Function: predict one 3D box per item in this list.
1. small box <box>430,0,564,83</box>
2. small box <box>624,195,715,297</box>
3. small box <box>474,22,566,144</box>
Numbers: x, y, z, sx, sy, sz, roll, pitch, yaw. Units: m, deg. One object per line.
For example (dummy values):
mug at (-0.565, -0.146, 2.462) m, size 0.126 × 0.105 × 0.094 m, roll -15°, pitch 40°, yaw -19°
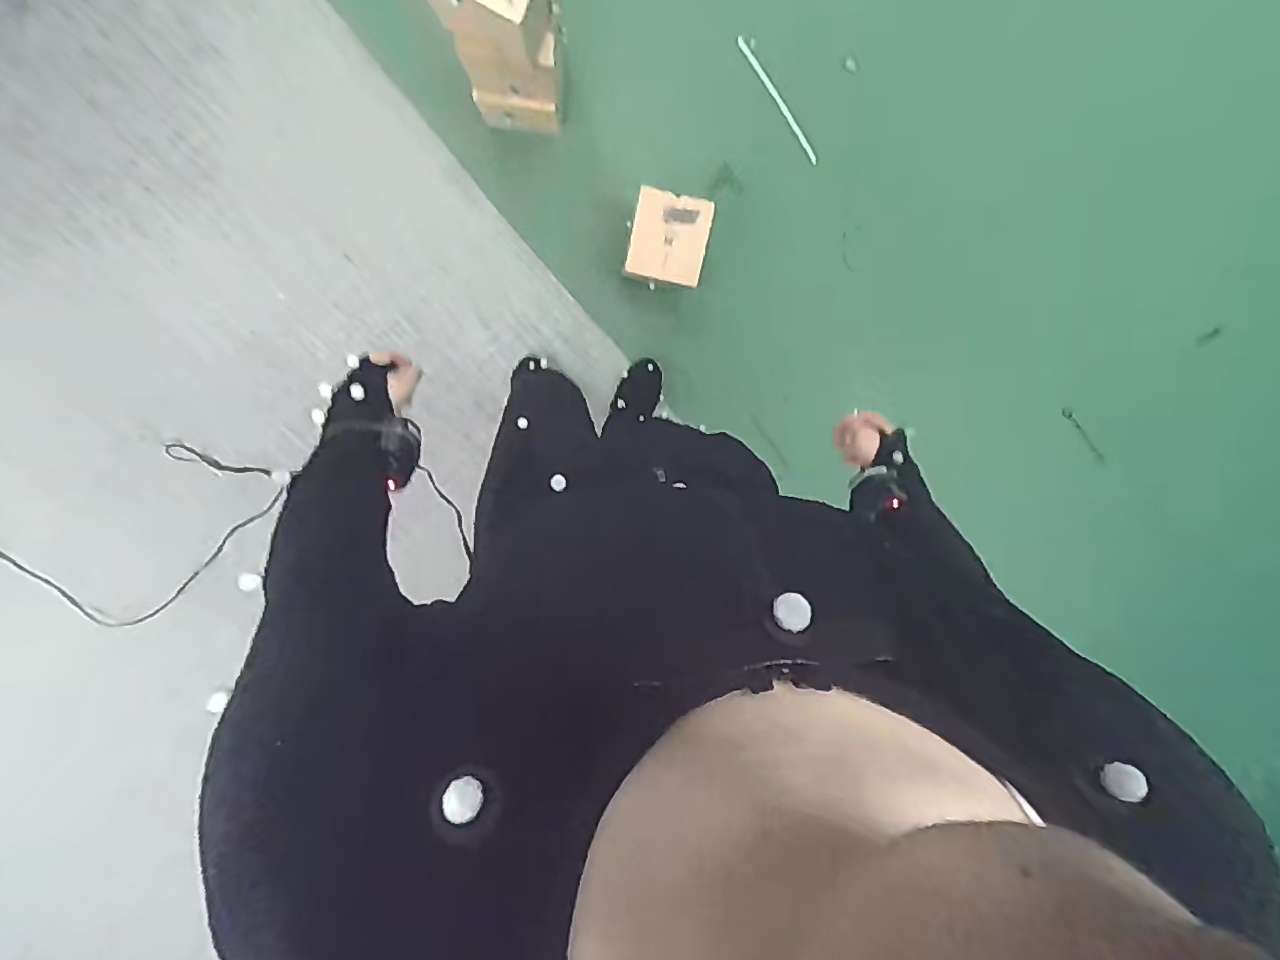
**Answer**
small box at (-0.215, -0.760, 0.819) m, size 0.168 × 0.176 × 0.179 m, roll 23°, pitch 103°, yaw -10°
small box at (0.060, -0.530, 1.248) m, size 0.168 × 0.176 × 0.179 m, roll 10°, pitch 106°, yaw -7°
small box at (-0.247, -0.834, 1.138) m, size 0.168 × 0.176 × 0.179 m, roll 4°, pitch 105°, yaw -5°
